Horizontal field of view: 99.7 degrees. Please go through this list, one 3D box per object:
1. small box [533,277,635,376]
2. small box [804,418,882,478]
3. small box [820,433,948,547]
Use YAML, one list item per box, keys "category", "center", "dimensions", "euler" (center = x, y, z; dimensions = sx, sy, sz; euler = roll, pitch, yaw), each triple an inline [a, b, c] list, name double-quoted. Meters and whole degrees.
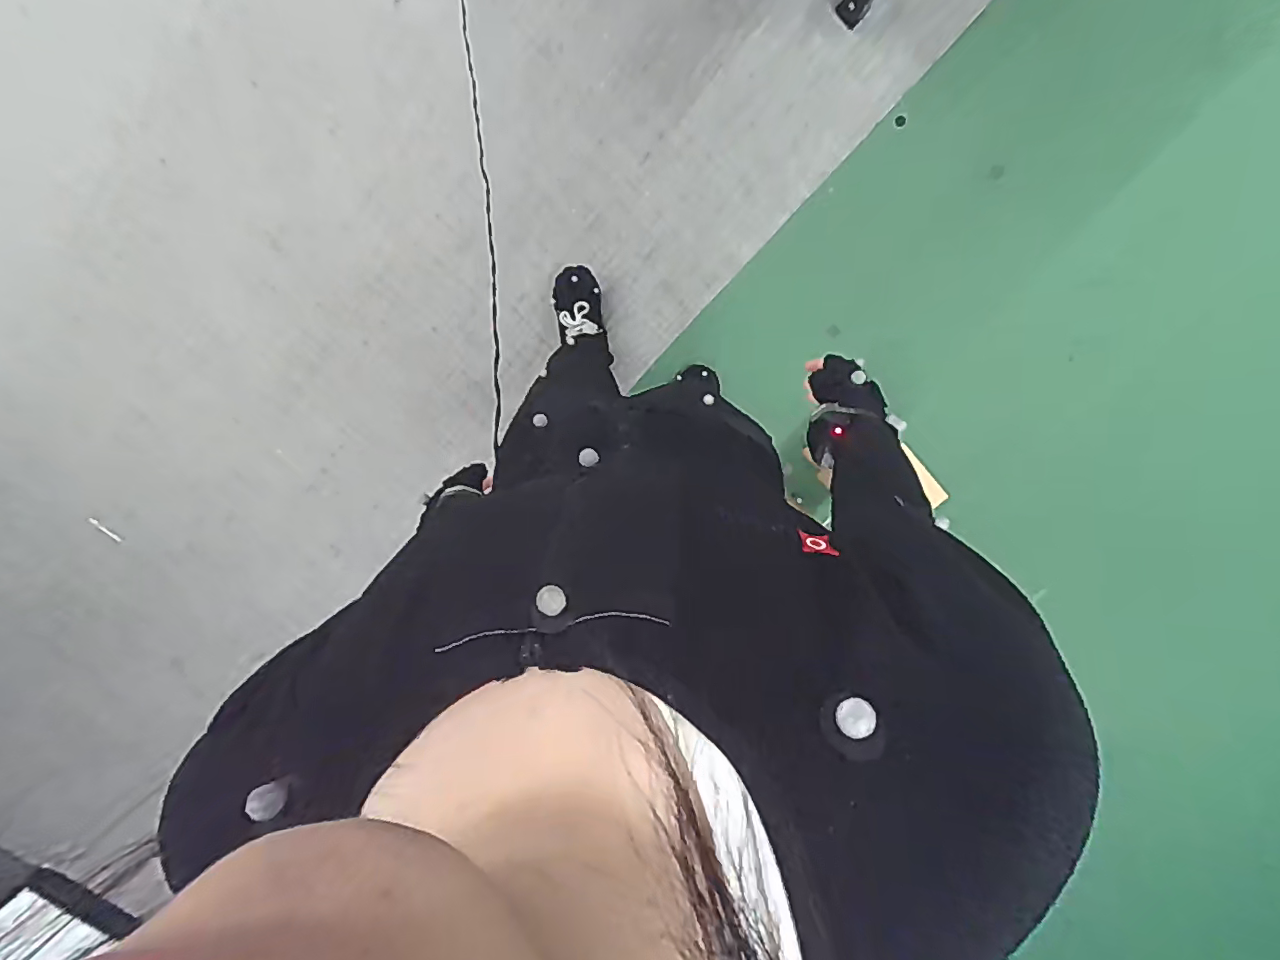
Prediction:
- category: "small box"
  center: [-0.141, -0.379, 1.324]
  dimensions: [0.179, 0.176, 0.168]
  euler: [33, 118, 4]
- category: "small box"
  center: [0.547, -0.042, 1.382]
  dimensions: [0.168, 0.176, 0.179]
  euler: [-41, 100, 12]
- category: "small box"
  center: [0.541, 0.014, 1.227]
  dimensions: [0.179, 0.176, 0.168]
  euler: [-42, 100, 12]
